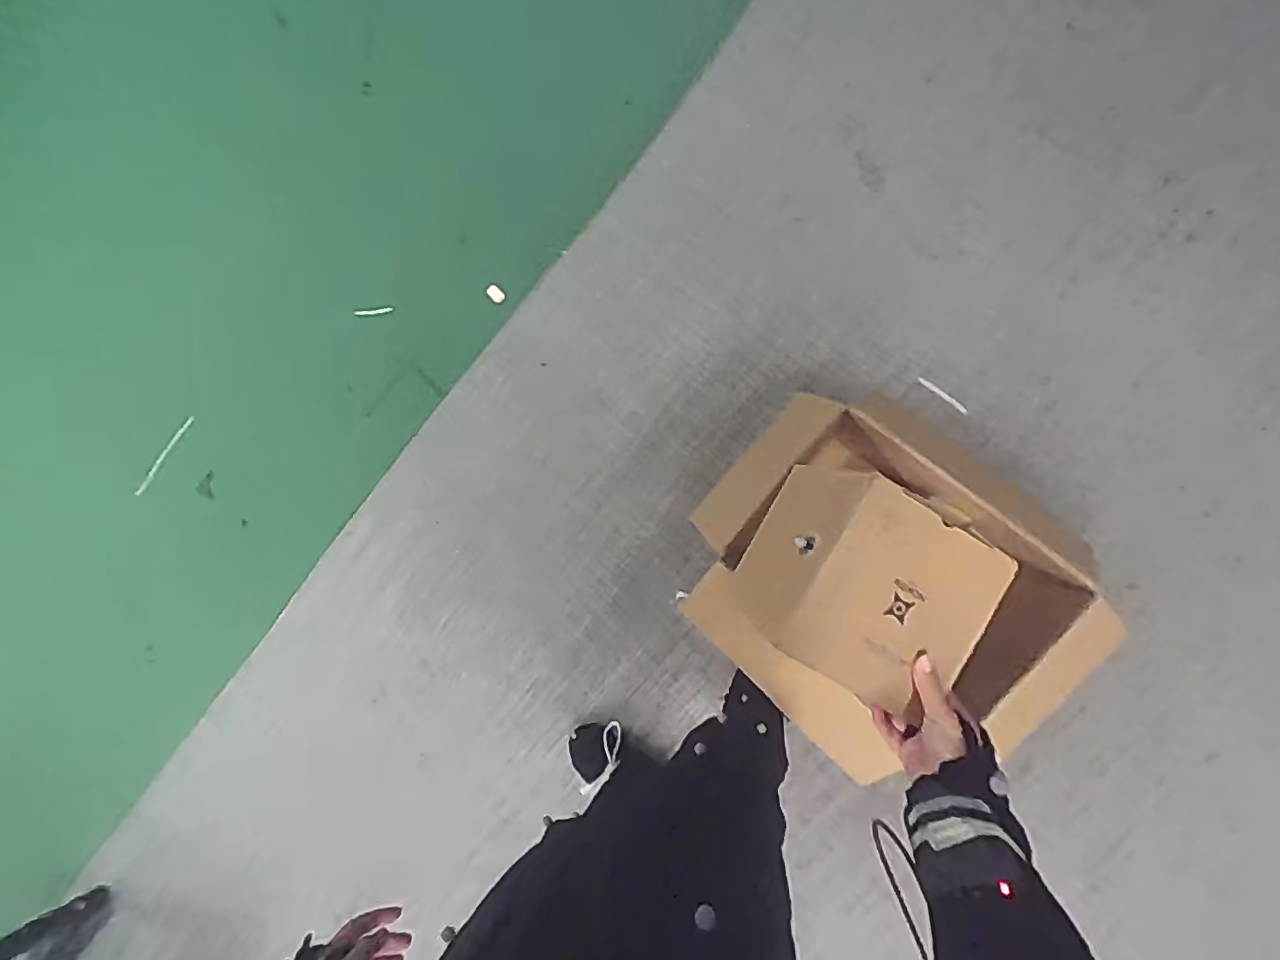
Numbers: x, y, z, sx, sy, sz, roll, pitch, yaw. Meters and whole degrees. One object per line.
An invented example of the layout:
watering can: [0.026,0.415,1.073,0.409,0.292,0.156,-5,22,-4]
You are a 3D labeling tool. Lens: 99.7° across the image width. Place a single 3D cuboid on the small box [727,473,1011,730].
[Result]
small box: [0.211,0.105,0.549,0.168,0.176,0.179,30,89,-9]
